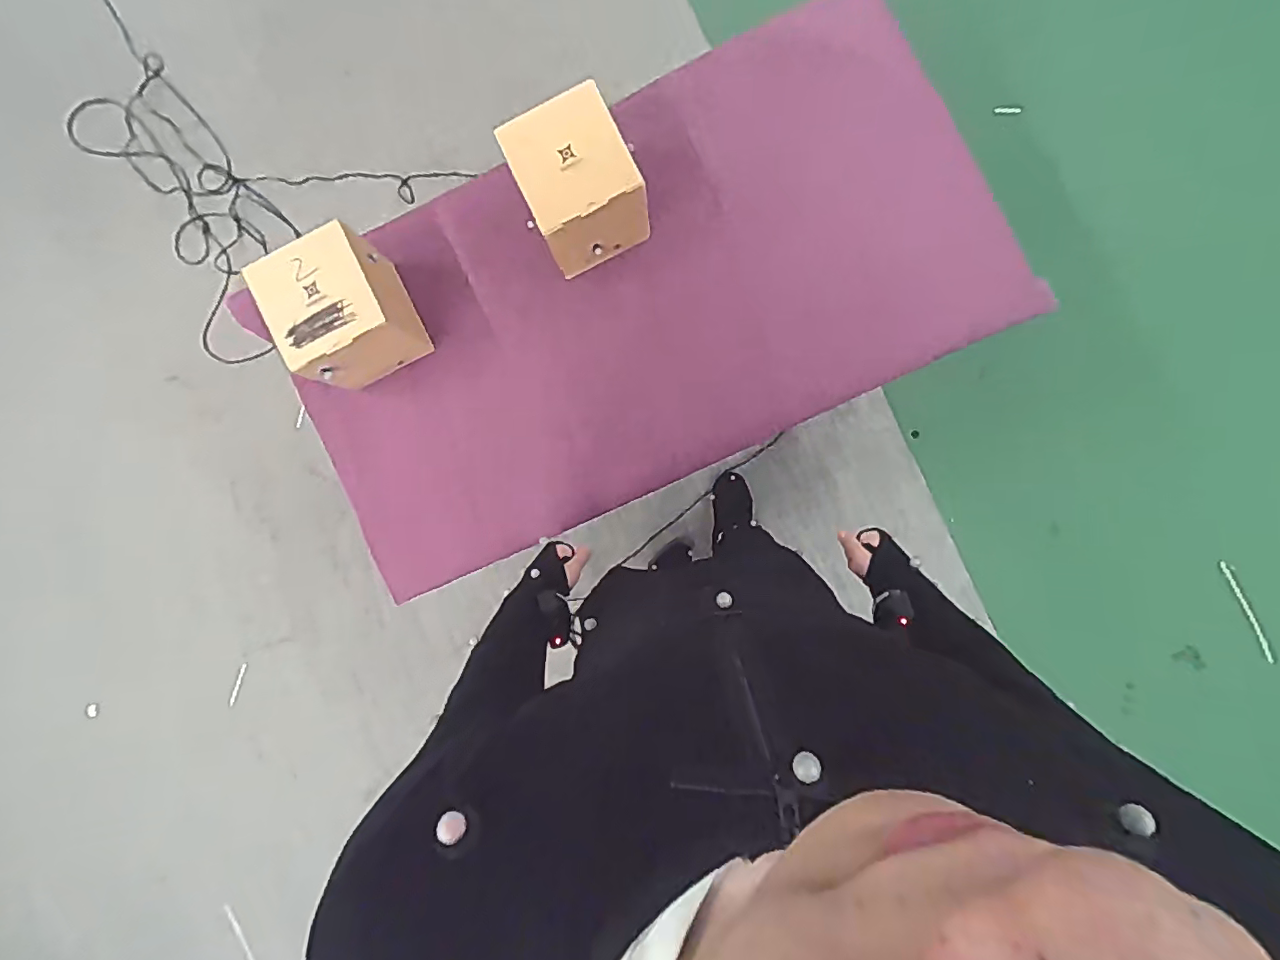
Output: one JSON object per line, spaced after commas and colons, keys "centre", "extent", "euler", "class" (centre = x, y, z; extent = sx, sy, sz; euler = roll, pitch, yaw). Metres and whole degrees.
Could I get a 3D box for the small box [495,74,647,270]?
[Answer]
{"centre": [-0.098, -0.467, 0.848], "extent": [0.168, 0.176, 0.179], "euler": [-27, 89, 2], "class": "small box"}
